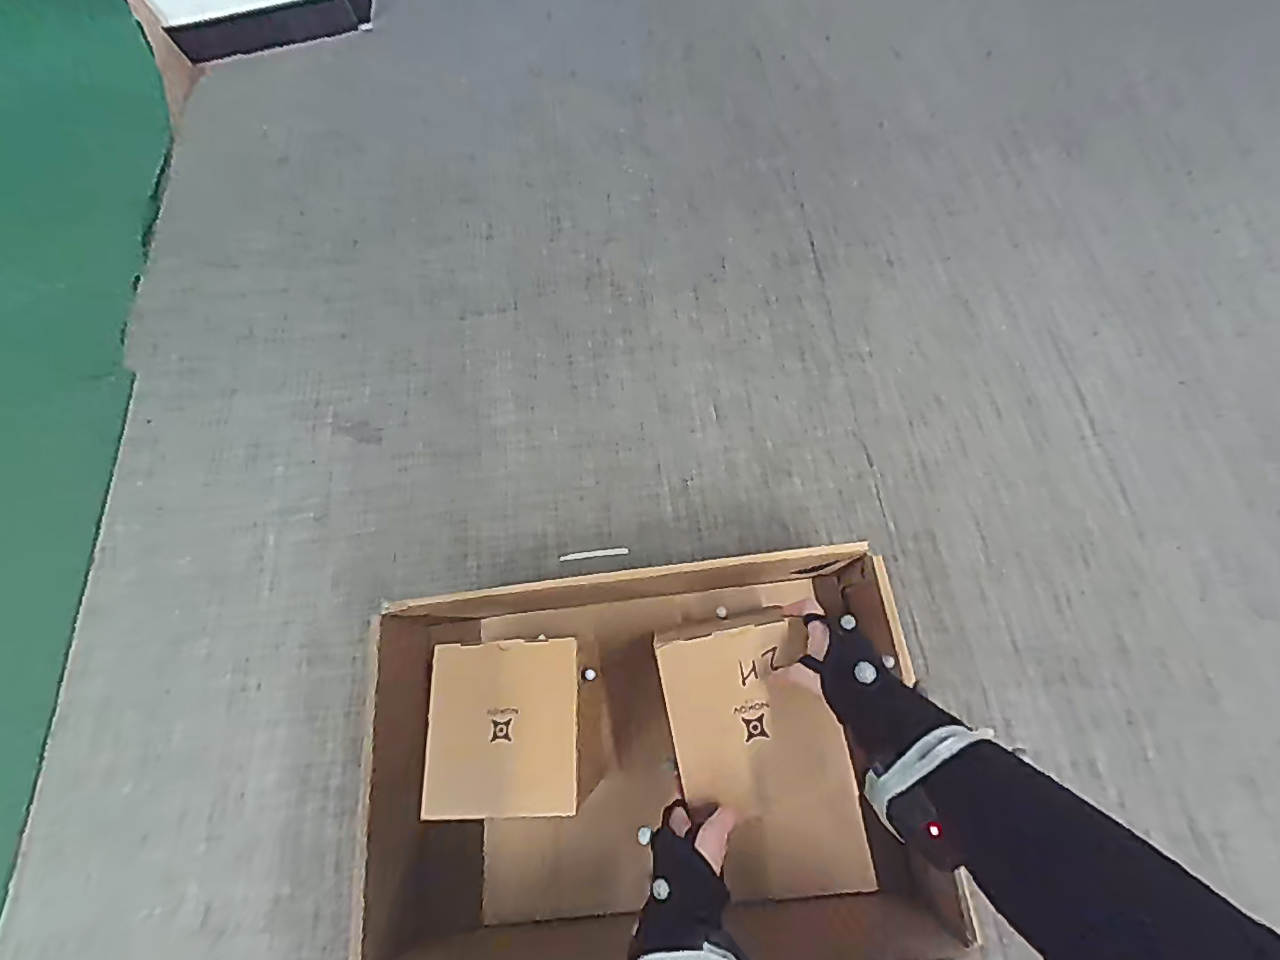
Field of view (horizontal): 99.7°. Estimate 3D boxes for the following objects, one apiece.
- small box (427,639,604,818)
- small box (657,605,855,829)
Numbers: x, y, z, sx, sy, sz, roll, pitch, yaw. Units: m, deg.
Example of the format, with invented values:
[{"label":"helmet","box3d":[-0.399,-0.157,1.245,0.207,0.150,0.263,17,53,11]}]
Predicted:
[{"label":"small box","box3d":[-0.137,0.290,0.659,0.168,0.176,0.179,-4,70,5]},{"label":"small box","box3d":[0.114,0.247,0.606,0.168,0.176,0.179,-10,81,-1]}]
